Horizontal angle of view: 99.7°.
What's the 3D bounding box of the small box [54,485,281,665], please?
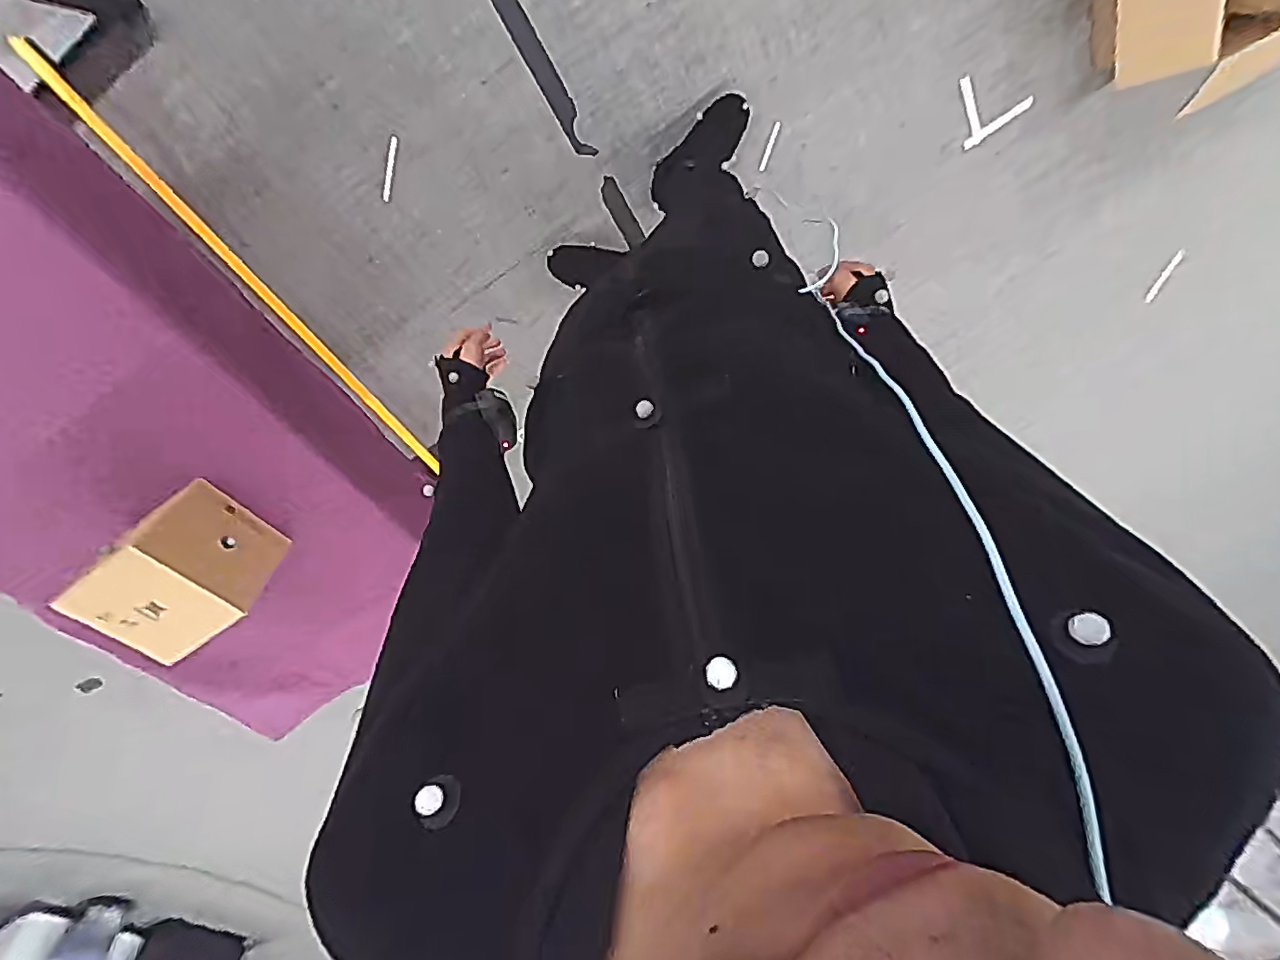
[{"bbox_3d":[-0.691,0.138,0.822,0.179,0.176,0.168,-31,122,13],"label":"small box"}]
